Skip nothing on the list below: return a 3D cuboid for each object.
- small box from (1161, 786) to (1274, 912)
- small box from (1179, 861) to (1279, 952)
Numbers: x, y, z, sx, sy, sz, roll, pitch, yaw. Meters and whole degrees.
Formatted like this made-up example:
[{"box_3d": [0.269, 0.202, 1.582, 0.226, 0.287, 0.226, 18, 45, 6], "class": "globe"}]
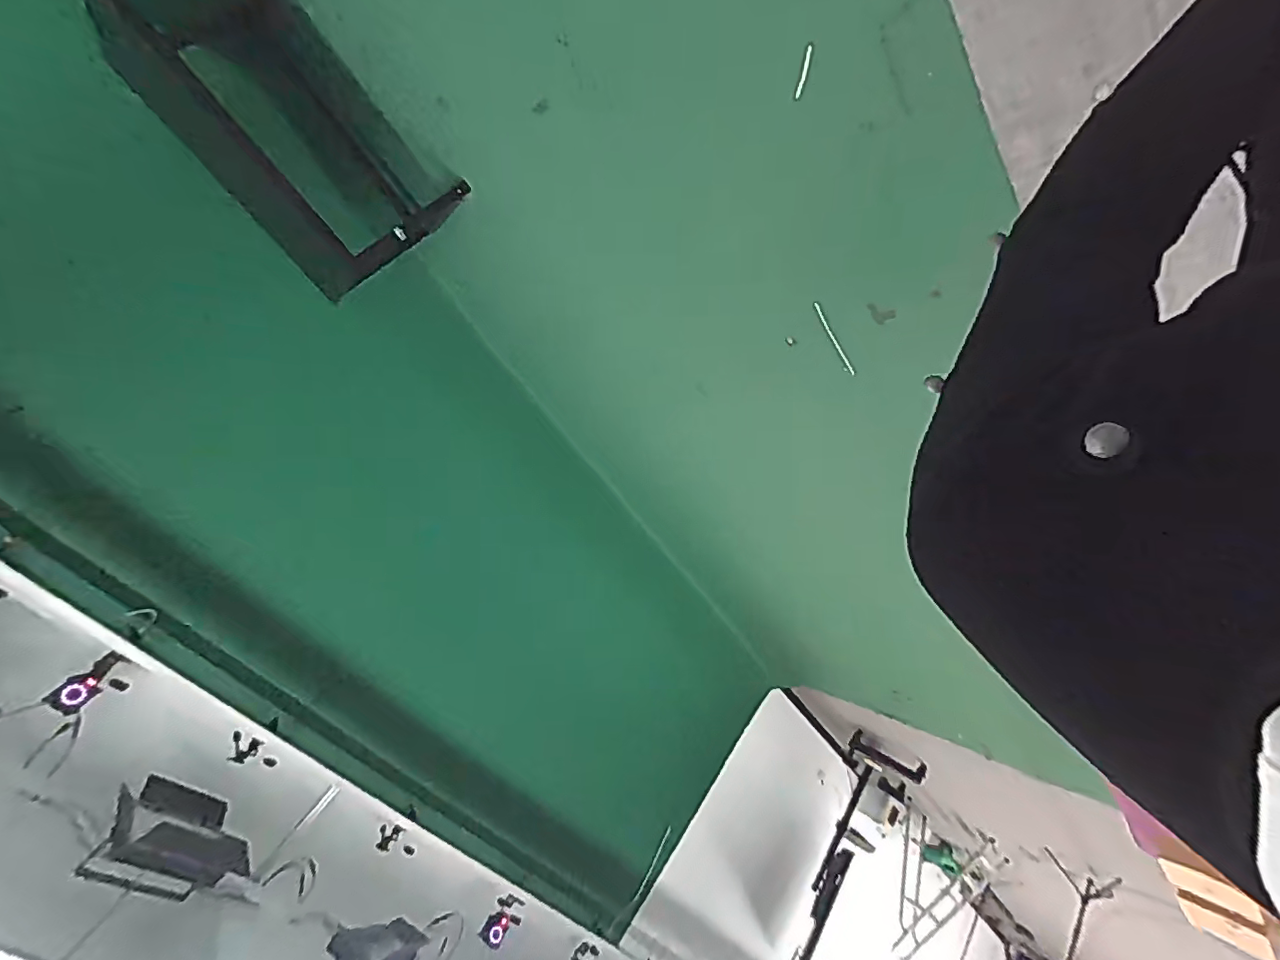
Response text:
[{"box_3d": [1.439, 0.910, 1.345, 0.179, 0.176, 0.168, 49, 155, -25], "class": "small box"}, {"box_3d": [1.594, 1.093, 1.450, 0.179, 0.176, 0.168, 50, 155, -22], "class": "small box"}]
